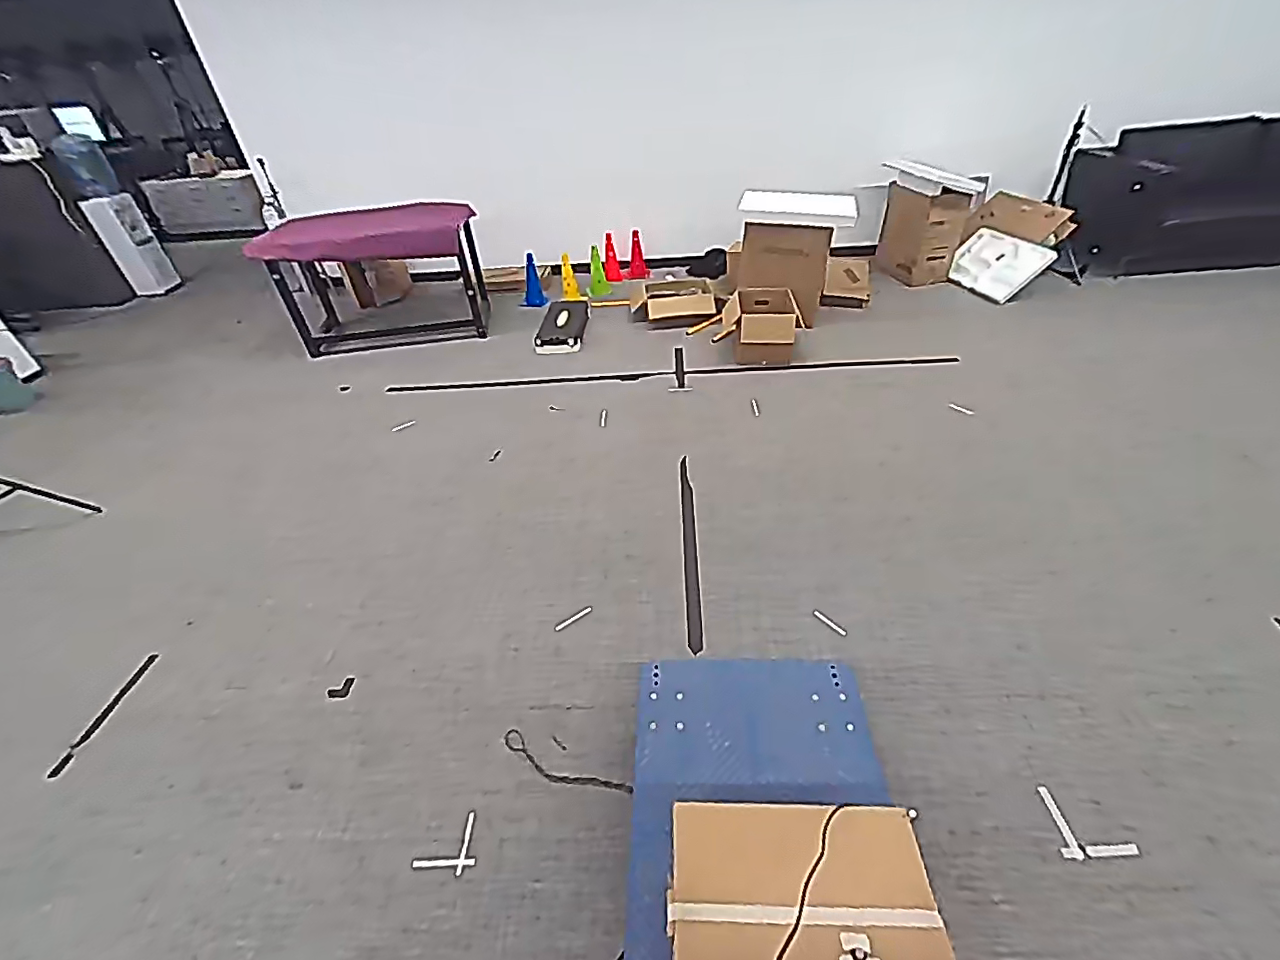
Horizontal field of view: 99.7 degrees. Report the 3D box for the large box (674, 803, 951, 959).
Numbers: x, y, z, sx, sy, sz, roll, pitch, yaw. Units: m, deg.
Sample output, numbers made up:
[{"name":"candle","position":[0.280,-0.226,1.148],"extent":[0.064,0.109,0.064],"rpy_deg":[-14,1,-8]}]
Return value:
[{"name":"large box","position":[0.264,0.787,0.930],"extent":[0.408,0.320,0.320],"rpy_deg":[-1,40,3]}]
